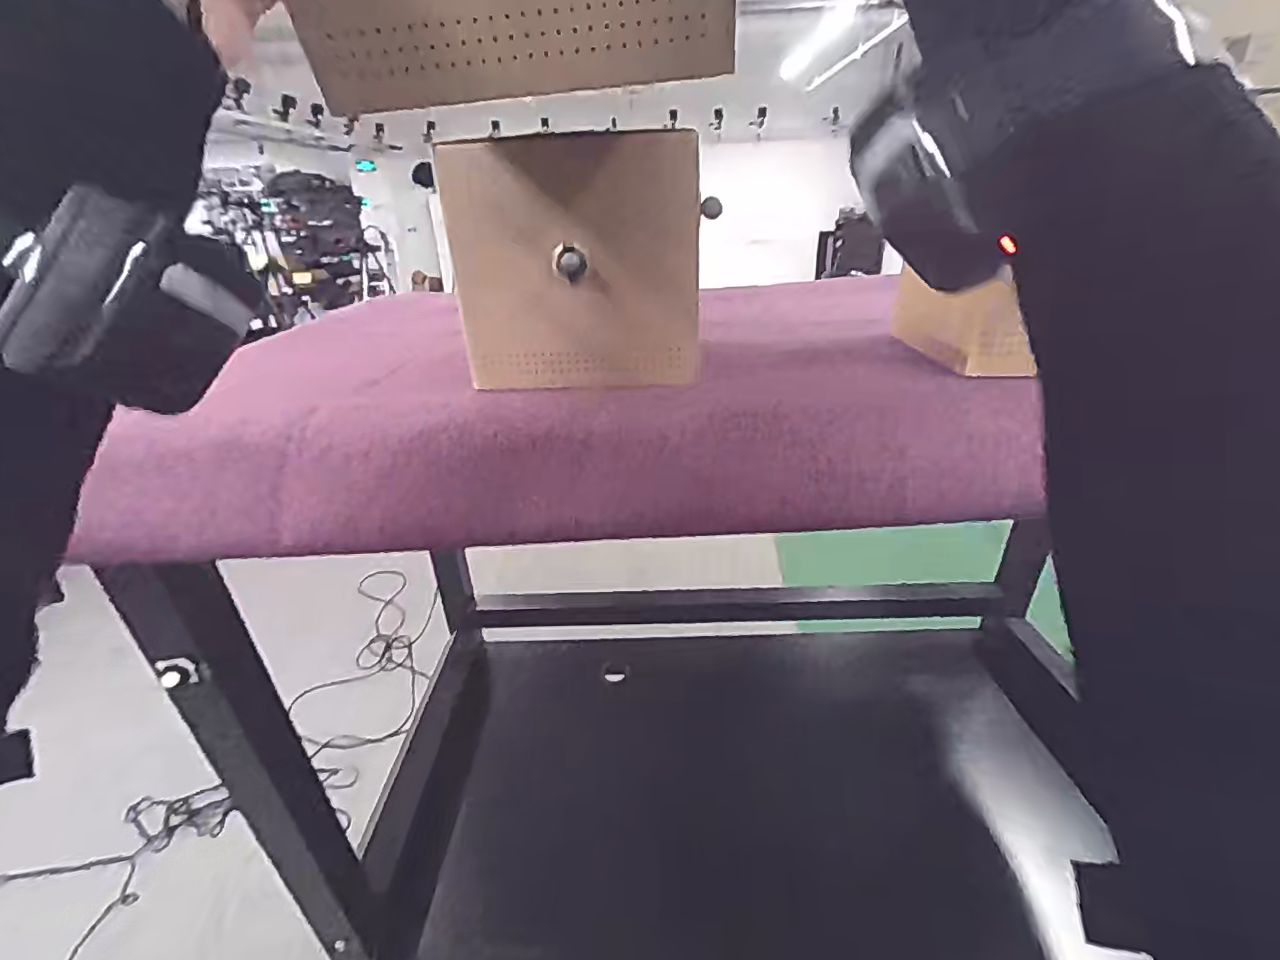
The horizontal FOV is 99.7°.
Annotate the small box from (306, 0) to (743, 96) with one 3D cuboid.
[{"bbox_3d":[-0.047,-0.277,0.219,0.179,0.176,0.168,-5,45,2],"label":"small box"}]

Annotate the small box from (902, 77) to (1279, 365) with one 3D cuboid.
[{"bbox_3d":[0.325,-0.189,0.421,0.168,0.176,0.179,1,25,6],"label":"small box"}]
